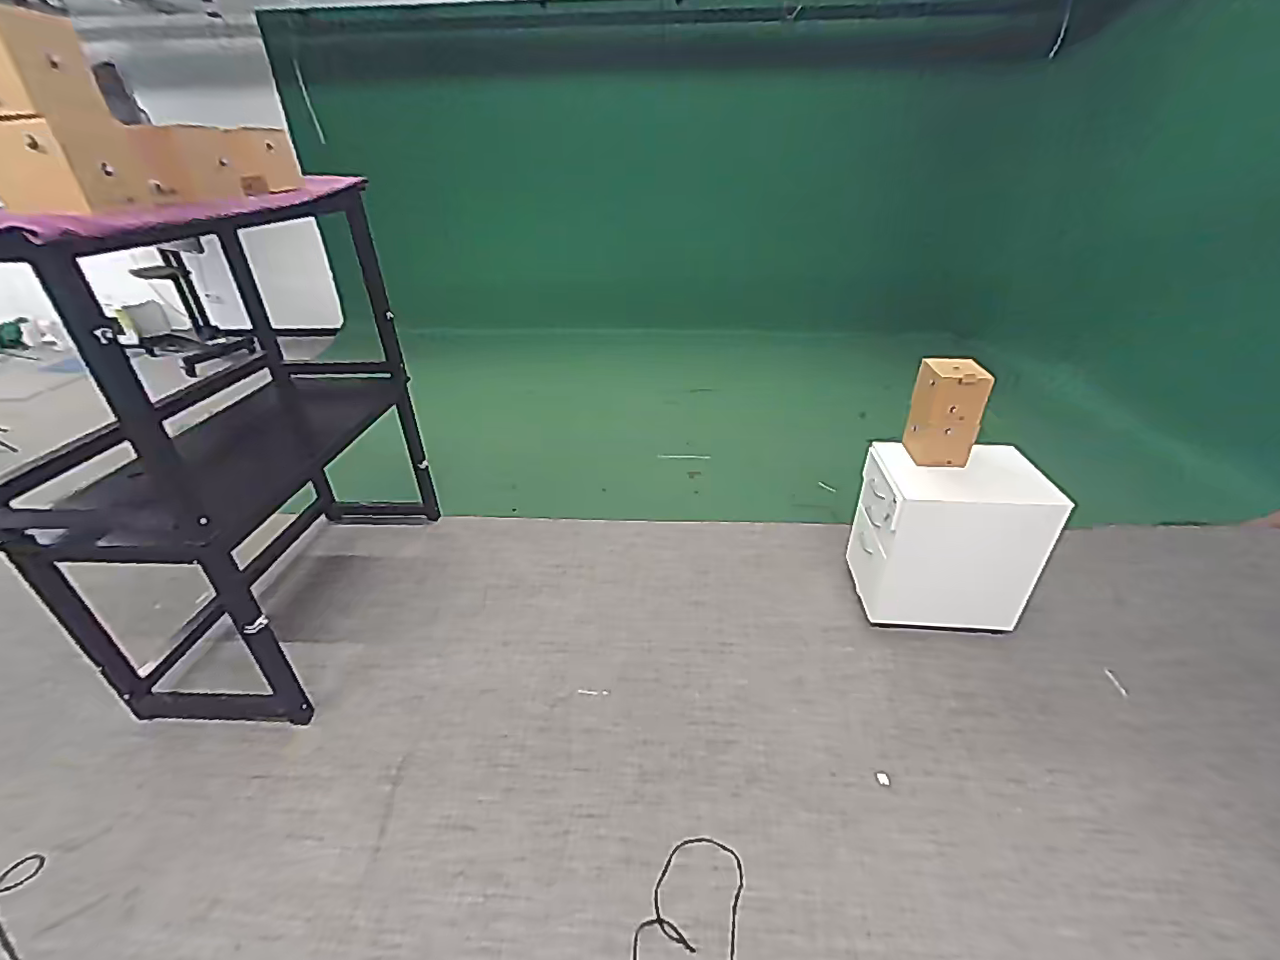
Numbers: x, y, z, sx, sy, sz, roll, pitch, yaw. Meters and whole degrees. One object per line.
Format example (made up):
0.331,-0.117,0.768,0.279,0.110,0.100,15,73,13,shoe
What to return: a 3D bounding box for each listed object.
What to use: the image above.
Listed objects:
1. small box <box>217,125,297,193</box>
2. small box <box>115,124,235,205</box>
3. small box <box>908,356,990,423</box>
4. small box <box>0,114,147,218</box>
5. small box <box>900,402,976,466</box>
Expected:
-1.199,-0.981,1.657,0.168,0.176,0.179,-1,32,5,small box
-1.187,-0.808,1.384,0.168,0.176,0.179,-1,33,2,small box
1.035,-0.307,1.831,0.168,0.176,0.179,2,33,4,small box
-1.170,-0.632,1.091,0.179,0.176,0.168,0,31,1,small box
1.043,-0.167,1.914,0.168,0.176,0.179,2,32,4,small box
